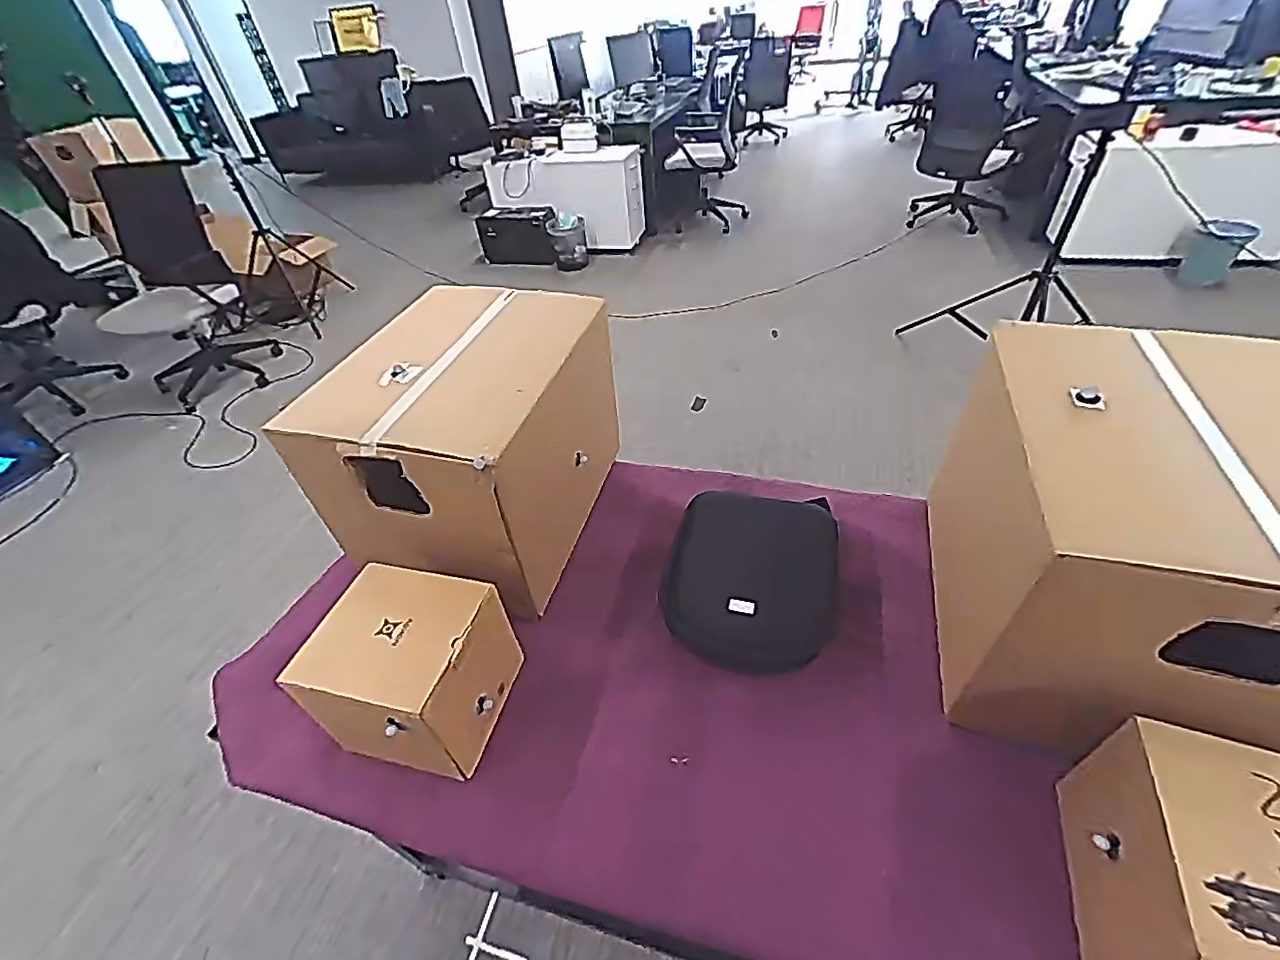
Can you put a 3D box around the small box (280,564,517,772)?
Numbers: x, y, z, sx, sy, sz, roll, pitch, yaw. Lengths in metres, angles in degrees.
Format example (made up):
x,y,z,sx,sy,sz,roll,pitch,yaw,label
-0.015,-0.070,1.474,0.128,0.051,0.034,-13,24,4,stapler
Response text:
x,y,z,sx,sy,sz,roll,pitch,yaw,label
-0.273,0.228,0.658,0.179,0.176,0.168,6,42,12,small box

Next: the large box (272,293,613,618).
x,y,z,sx,sy,sz,roll,pitch,yaw,label
-0.247,-0.054,0.861,0.320,0.320,0.408,8,46,13,large box
